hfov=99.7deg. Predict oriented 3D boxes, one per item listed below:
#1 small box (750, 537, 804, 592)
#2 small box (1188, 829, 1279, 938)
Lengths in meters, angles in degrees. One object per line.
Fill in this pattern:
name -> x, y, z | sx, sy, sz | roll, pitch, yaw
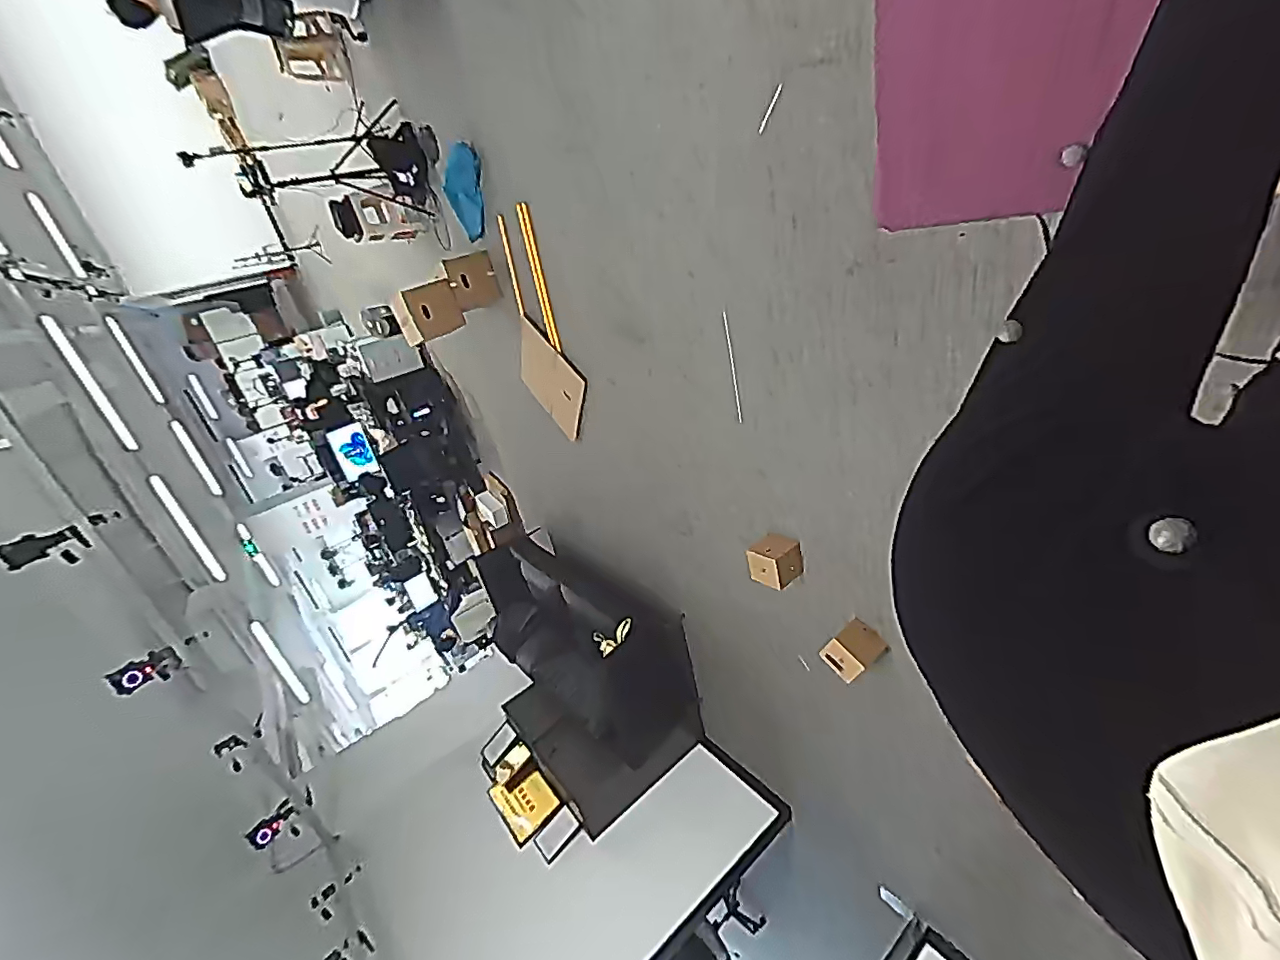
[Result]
small box -> 0.631, 0.379, 2.464 | 0.179, 0.176, 0.168 | 17, 128, 52
small box -> 1.636, 1.064, 1.432 | 0.168, 0.176, 0.179 | 47, 148, 25
